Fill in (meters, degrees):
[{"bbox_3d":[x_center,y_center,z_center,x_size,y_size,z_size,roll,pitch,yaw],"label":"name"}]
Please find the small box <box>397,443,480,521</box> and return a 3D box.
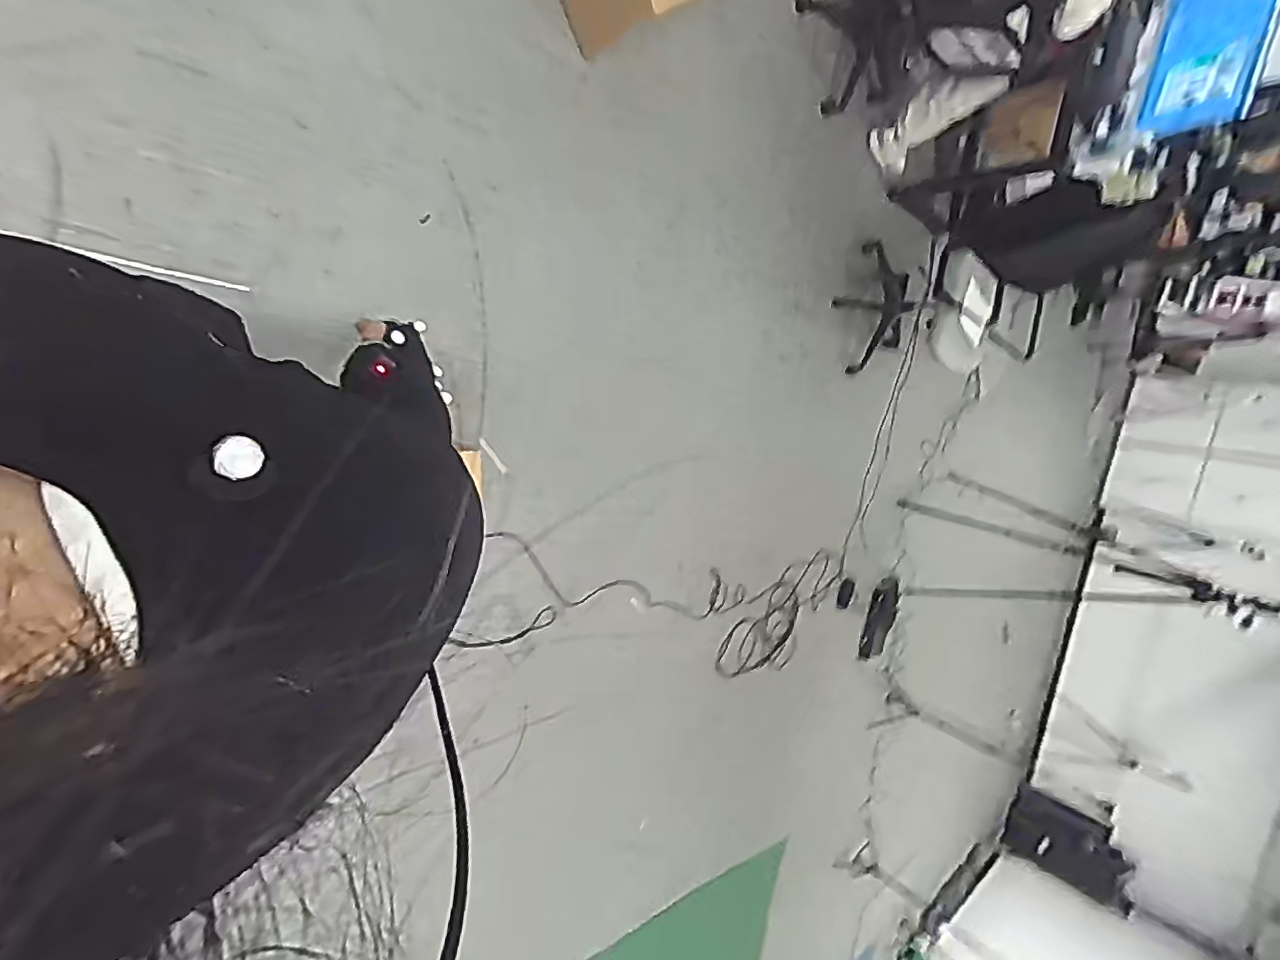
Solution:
[{"bbox_3d":[-0.542,-0.004,1.448,0.168,0.176,0.179,-7,107,-40],"label":"small box"}]
